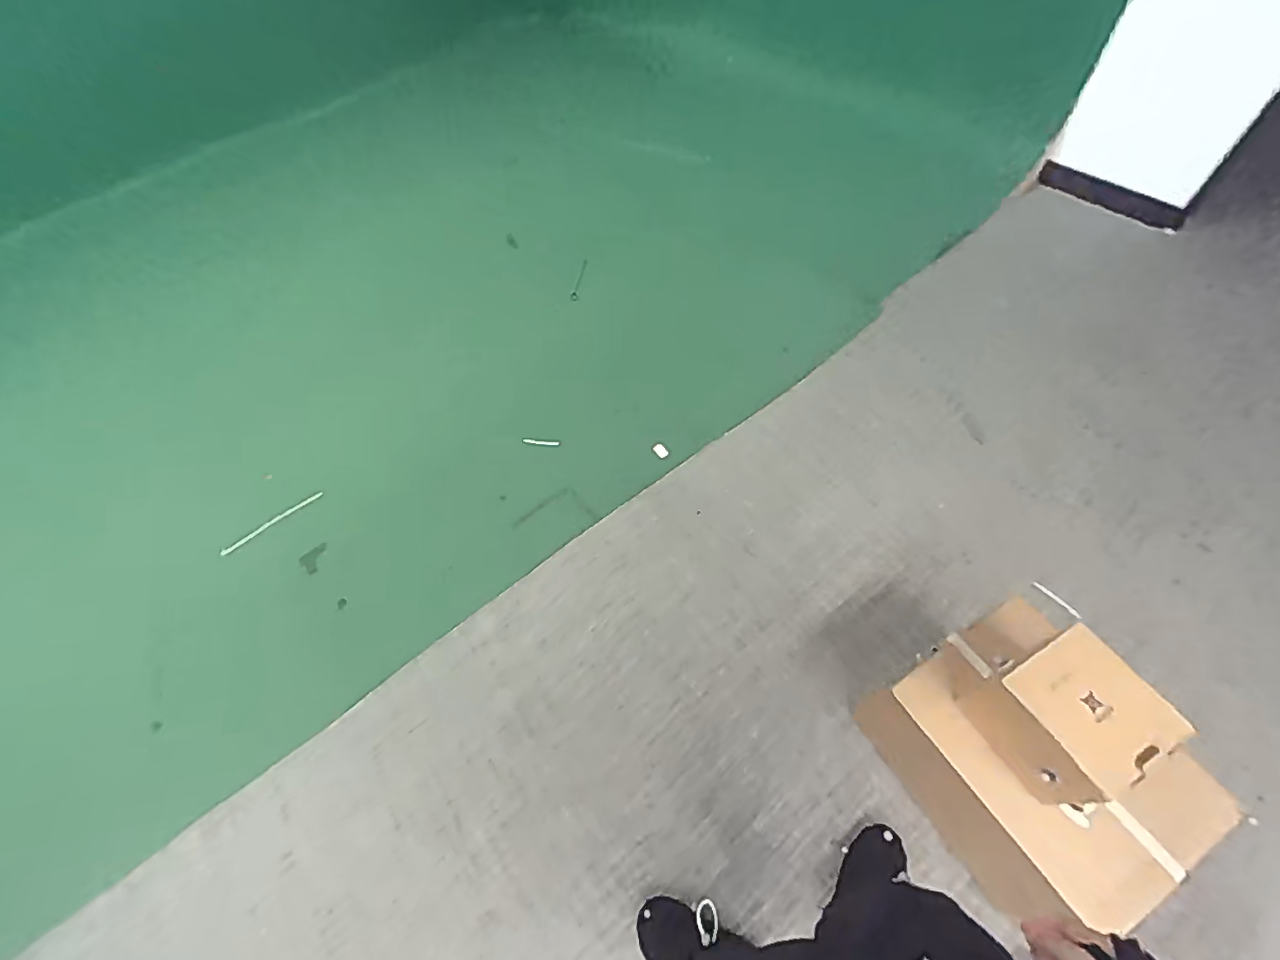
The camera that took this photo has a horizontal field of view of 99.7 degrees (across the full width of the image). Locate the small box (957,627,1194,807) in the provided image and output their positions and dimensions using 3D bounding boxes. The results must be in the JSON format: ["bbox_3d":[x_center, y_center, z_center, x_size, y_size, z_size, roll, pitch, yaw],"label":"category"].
[{"bbox_3d":[0.624,0.354,0.803,0.168,0.176,0.179,-28,59,-13],"label":"small box"}]

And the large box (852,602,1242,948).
[{"bbox_3d":[0.675,0.506,0.990,0.320,0.320,0.408,-30,61,-11],"label":"large box"}]
